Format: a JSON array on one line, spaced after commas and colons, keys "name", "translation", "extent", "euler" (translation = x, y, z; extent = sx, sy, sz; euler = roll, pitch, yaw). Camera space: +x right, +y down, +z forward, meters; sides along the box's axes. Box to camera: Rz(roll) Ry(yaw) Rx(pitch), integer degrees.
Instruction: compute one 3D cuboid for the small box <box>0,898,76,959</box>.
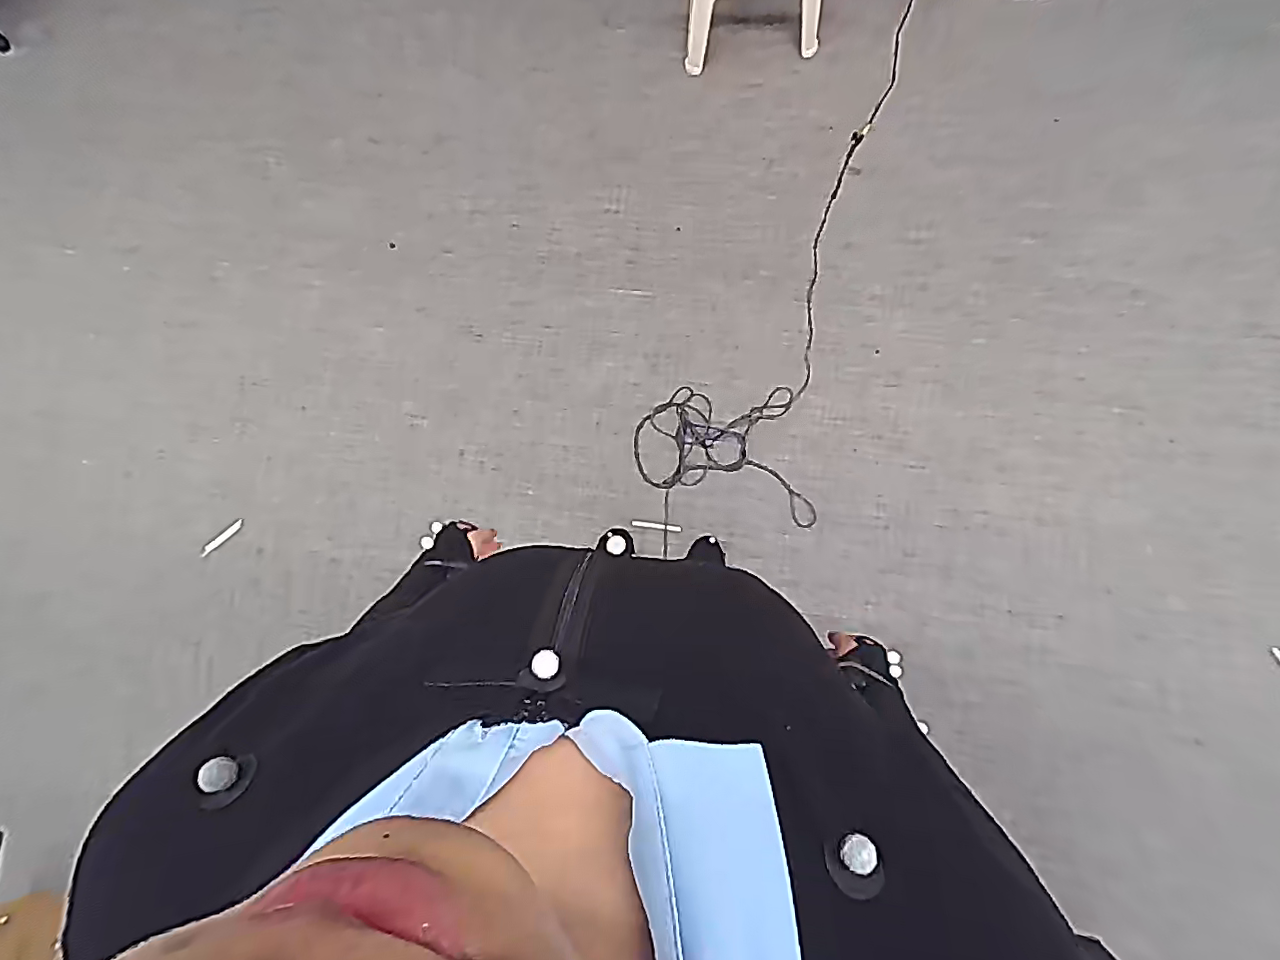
[{"name": "small box", "translation": [-1.732, 1.294, 1.487], "extent": [0.179, 0.176, 0.168], "euler": [1, 85, 5]}]
